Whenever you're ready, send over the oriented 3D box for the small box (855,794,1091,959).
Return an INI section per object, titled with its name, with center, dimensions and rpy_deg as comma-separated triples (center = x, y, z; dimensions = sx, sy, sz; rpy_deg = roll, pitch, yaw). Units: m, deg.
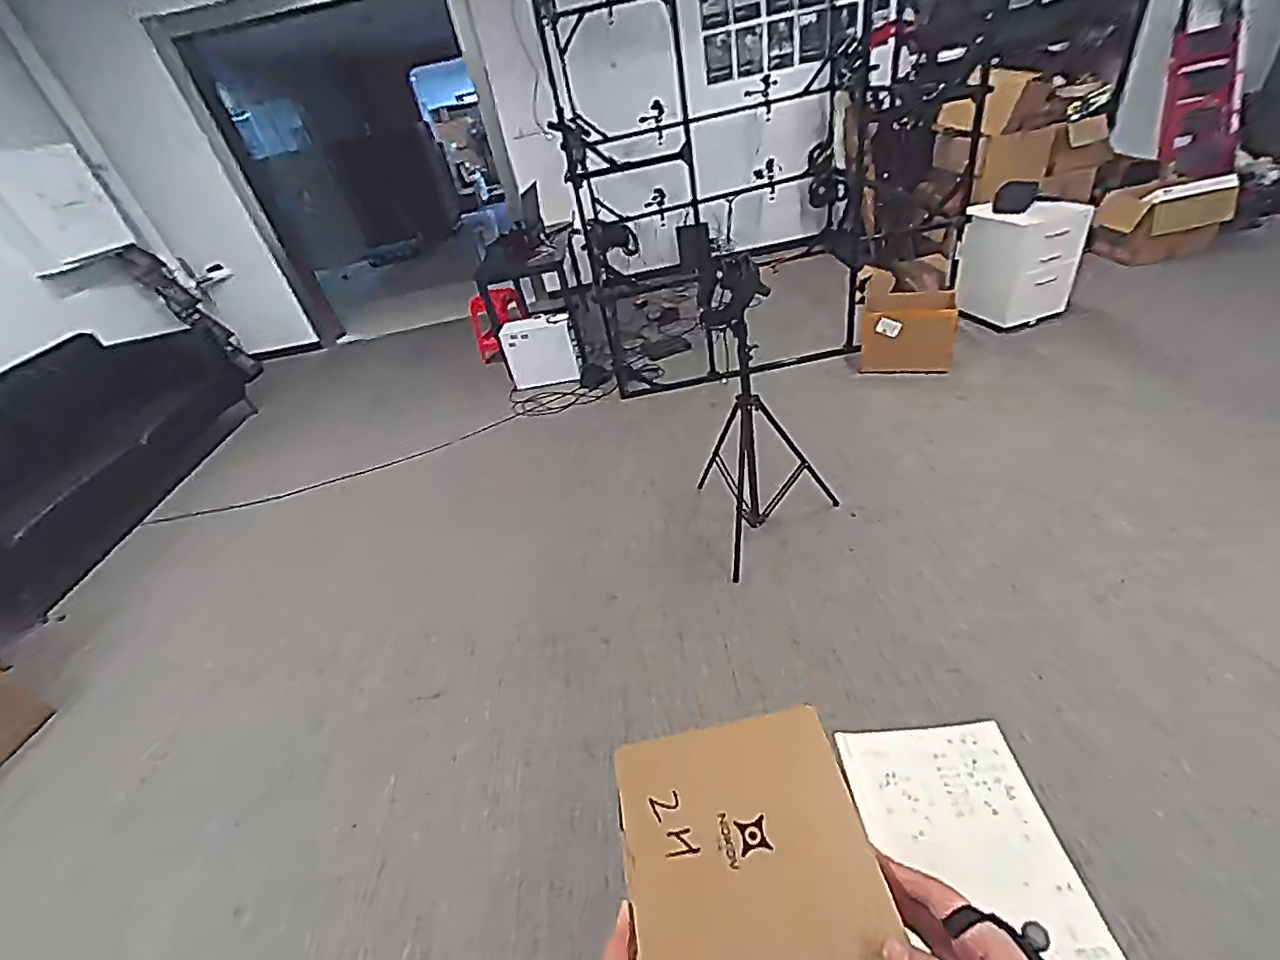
[small box]
center = 0.365, 0.502, 0.630
dimensions = 0.168, 0.176, 0.179
rpy_deg = -8, 36, 2
